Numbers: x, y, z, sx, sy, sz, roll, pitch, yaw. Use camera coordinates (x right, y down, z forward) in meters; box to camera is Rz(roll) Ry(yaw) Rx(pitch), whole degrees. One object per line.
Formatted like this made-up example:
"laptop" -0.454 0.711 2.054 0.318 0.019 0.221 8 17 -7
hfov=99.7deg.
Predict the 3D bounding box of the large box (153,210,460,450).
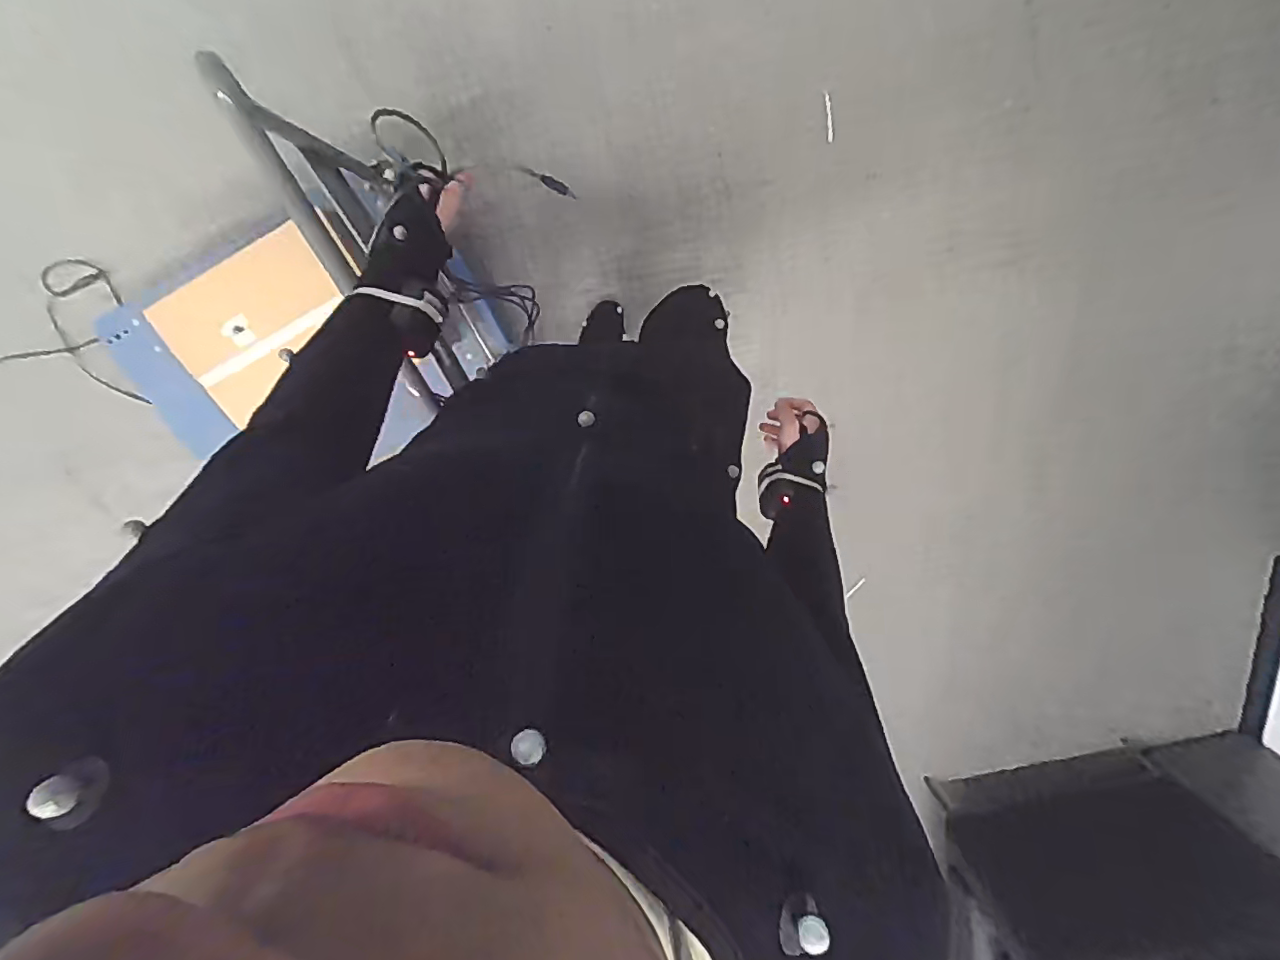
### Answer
"large box" -0.676 -0.328 1.172 0.408 0.320 0.320 -25 110 8
